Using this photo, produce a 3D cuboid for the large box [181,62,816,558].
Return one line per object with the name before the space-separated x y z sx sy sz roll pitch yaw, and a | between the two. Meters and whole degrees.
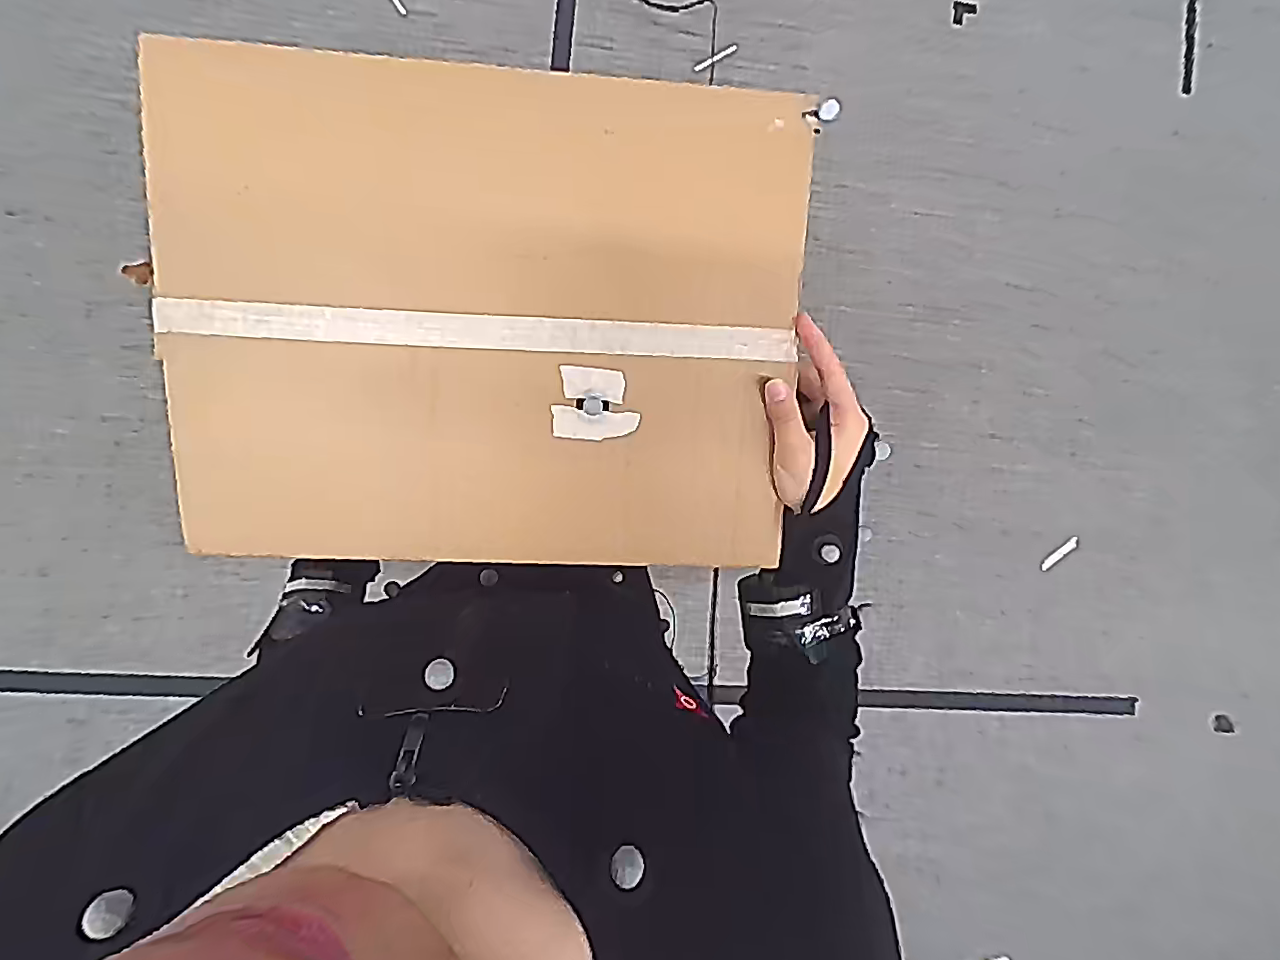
large box | -0.099 -0.119 0.509 0.408 0.320 0.320 2 100 -5
